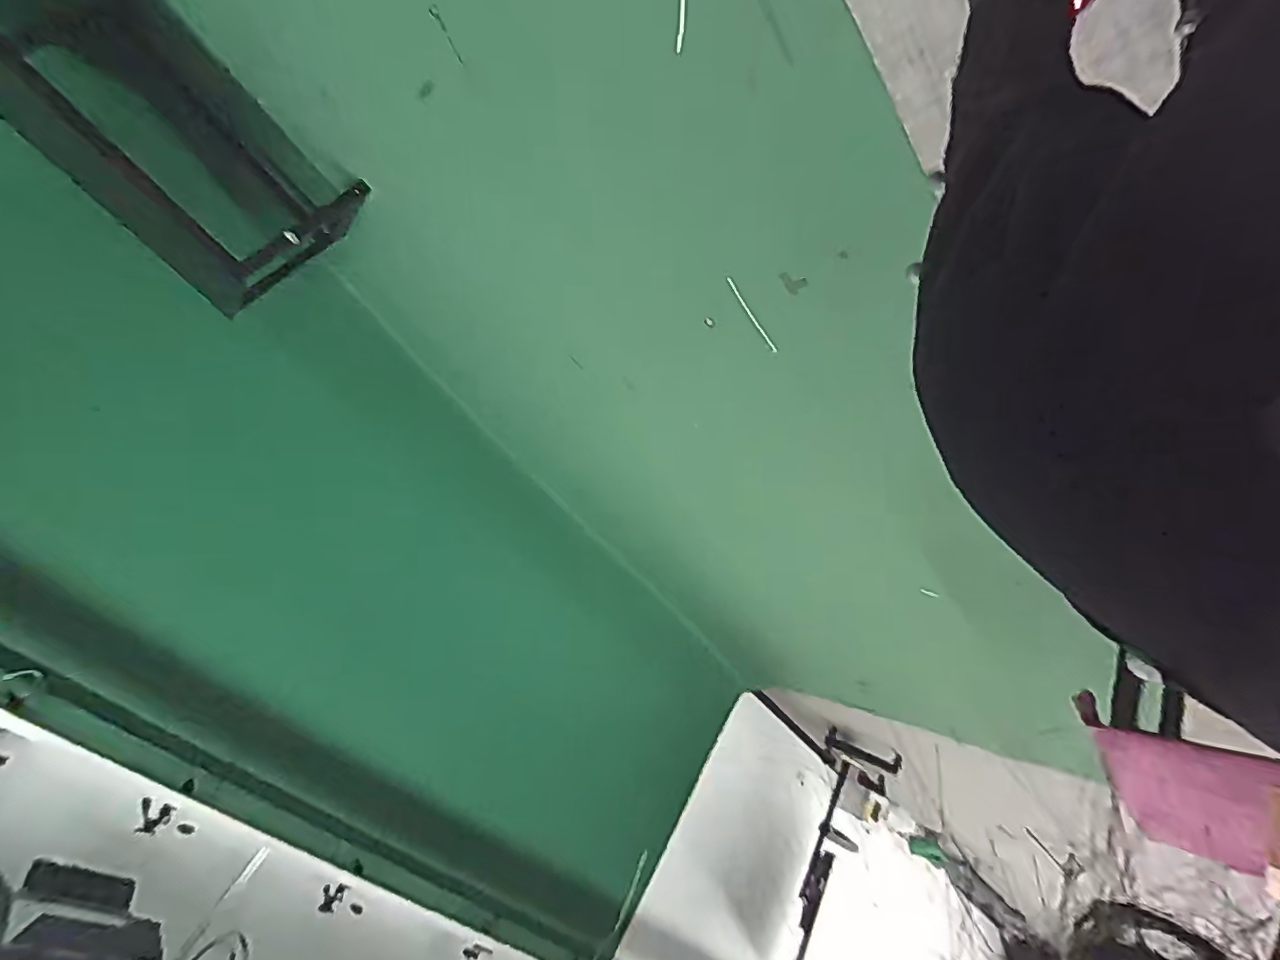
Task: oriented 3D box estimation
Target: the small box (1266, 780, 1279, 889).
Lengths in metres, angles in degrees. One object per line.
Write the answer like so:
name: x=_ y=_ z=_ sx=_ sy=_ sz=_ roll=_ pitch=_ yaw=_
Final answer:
small box: x=1.370 y=0.732 z=1.070 sx=0.168 sy=0.176 sz=0.179 roll=1 pitch=138 yaw=49
